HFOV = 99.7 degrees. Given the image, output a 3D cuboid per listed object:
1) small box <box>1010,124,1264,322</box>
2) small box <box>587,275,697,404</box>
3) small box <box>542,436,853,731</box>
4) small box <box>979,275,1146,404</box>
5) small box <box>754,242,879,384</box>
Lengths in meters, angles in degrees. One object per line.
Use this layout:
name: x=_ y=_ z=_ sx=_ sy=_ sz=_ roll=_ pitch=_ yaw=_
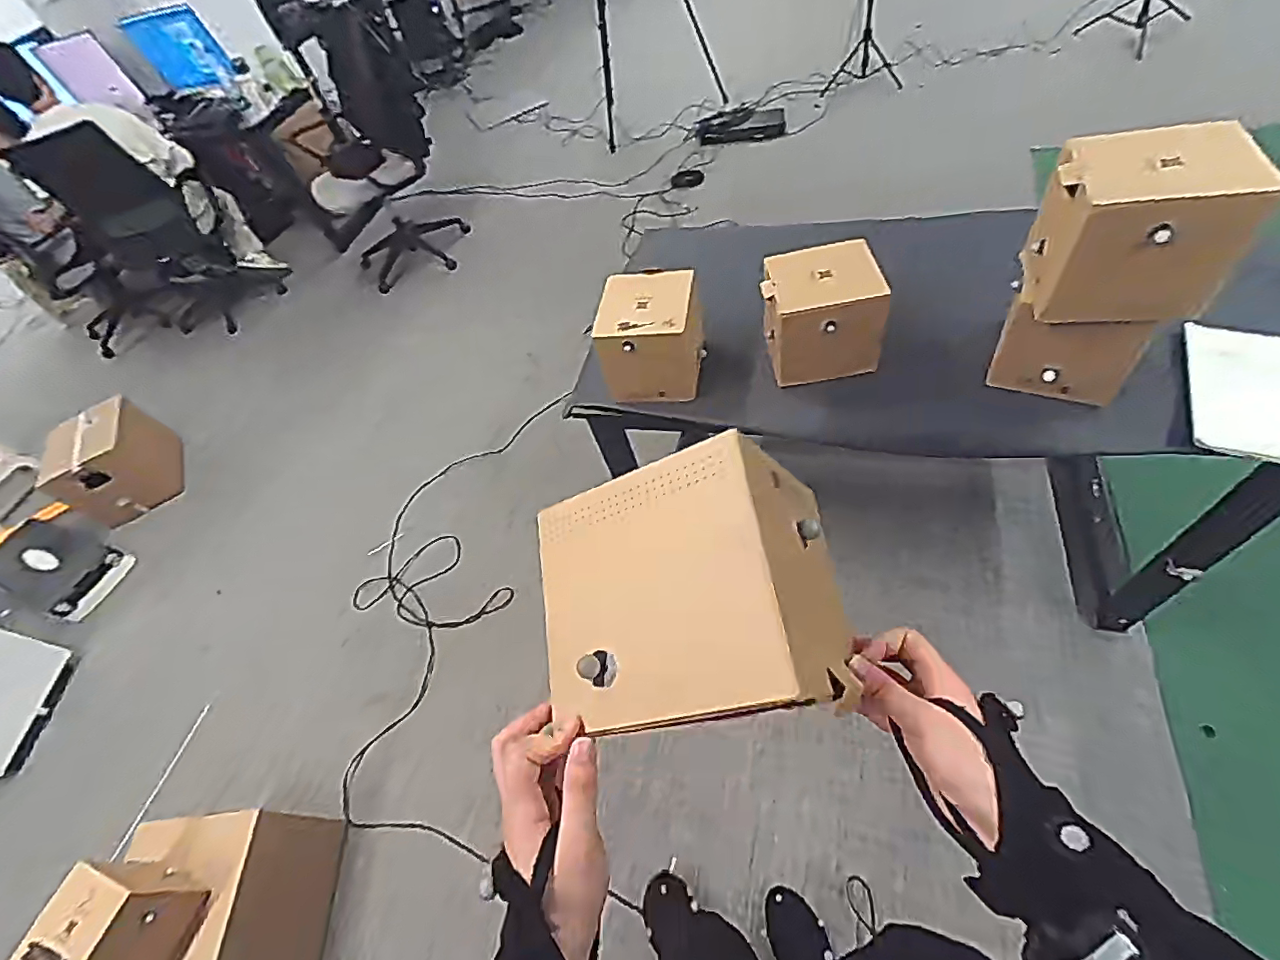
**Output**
small box: x=0.617 y=-0.324 z=0.704 sx=0.179 sy=0.176 sz=0.168 roll=3 pitch=55 yaw=19
small box: x=0.014 y=-0.265 z=1.036 sx=0.168 sy=0.176 sz=0.179 roll=1 pitch=55 yaw=15
small box: x=0.039 y=0.088 z=0.421 sx=0.179 sy=0.168 sz=0.176 roll=-22 pitch=65 yaw=28
small box: x=0.656 y=-0.250 z=0.845 sx=0.168 sy=0.176 sz=0.179 roll=19 pitch=62 yaw=27
small box: x=0.311 y=-0.294 z=0.977 sx=0.179 sy=0.176 sz=0.168 roll=-9 pitch=54 yaw=8
